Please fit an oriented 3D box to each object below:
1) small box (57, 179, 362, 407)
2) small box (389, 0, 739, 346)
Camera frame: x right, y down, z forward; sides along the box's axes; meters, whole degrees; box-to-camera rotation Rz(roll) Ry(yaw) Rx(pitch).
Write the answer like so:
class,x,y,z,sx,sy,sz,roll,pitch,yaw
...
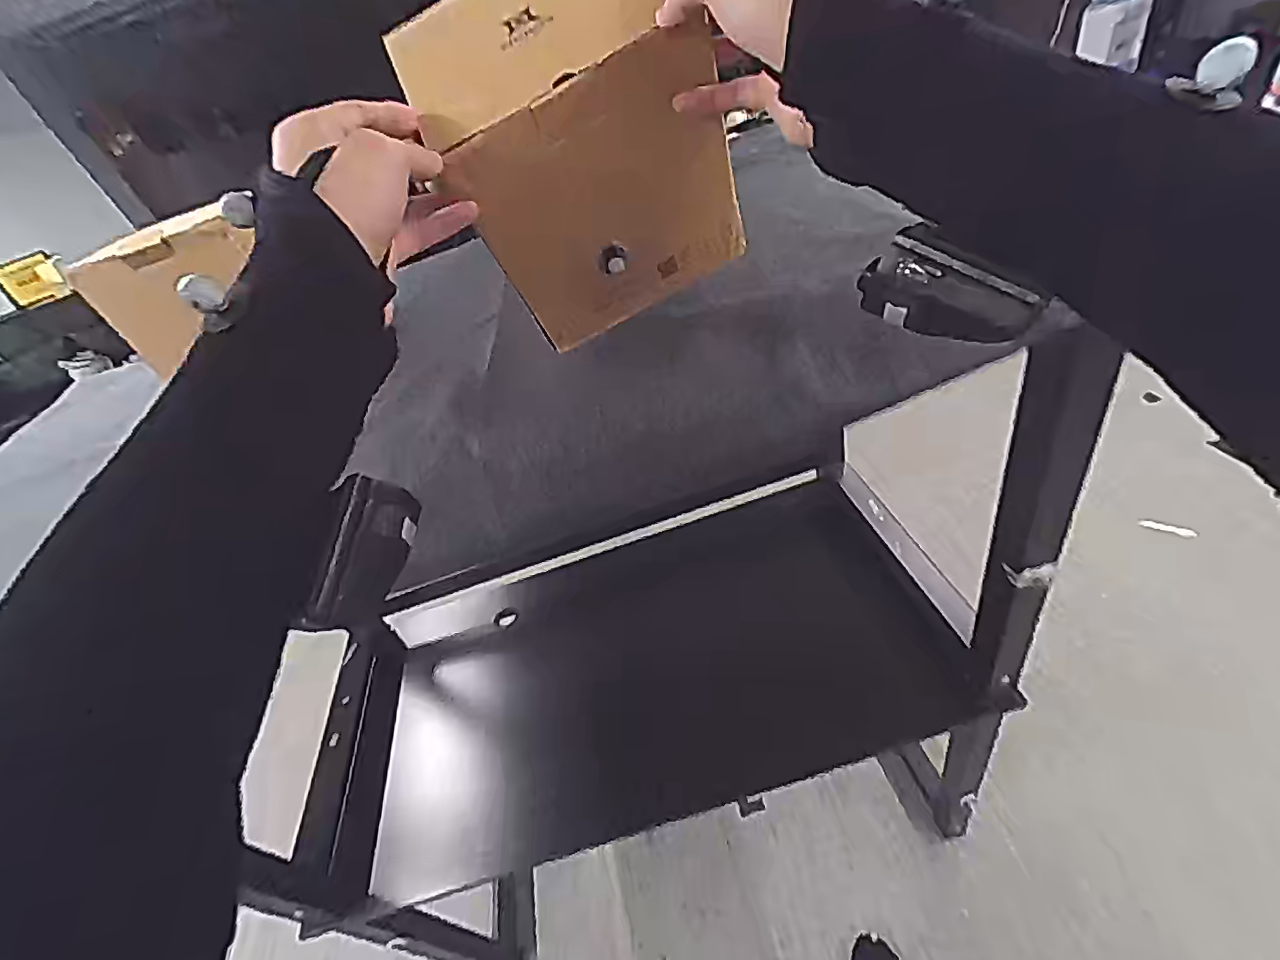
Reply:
class,x,y,z,sx,sy,sz,roll,pitch,yaw
small box,-0.441,-0.198,0.596,0.168,0.176,0.179,-17,41,3
small box,-0.046,-0.234,0.390,0.168,0.176,0.179,-29,60,3
